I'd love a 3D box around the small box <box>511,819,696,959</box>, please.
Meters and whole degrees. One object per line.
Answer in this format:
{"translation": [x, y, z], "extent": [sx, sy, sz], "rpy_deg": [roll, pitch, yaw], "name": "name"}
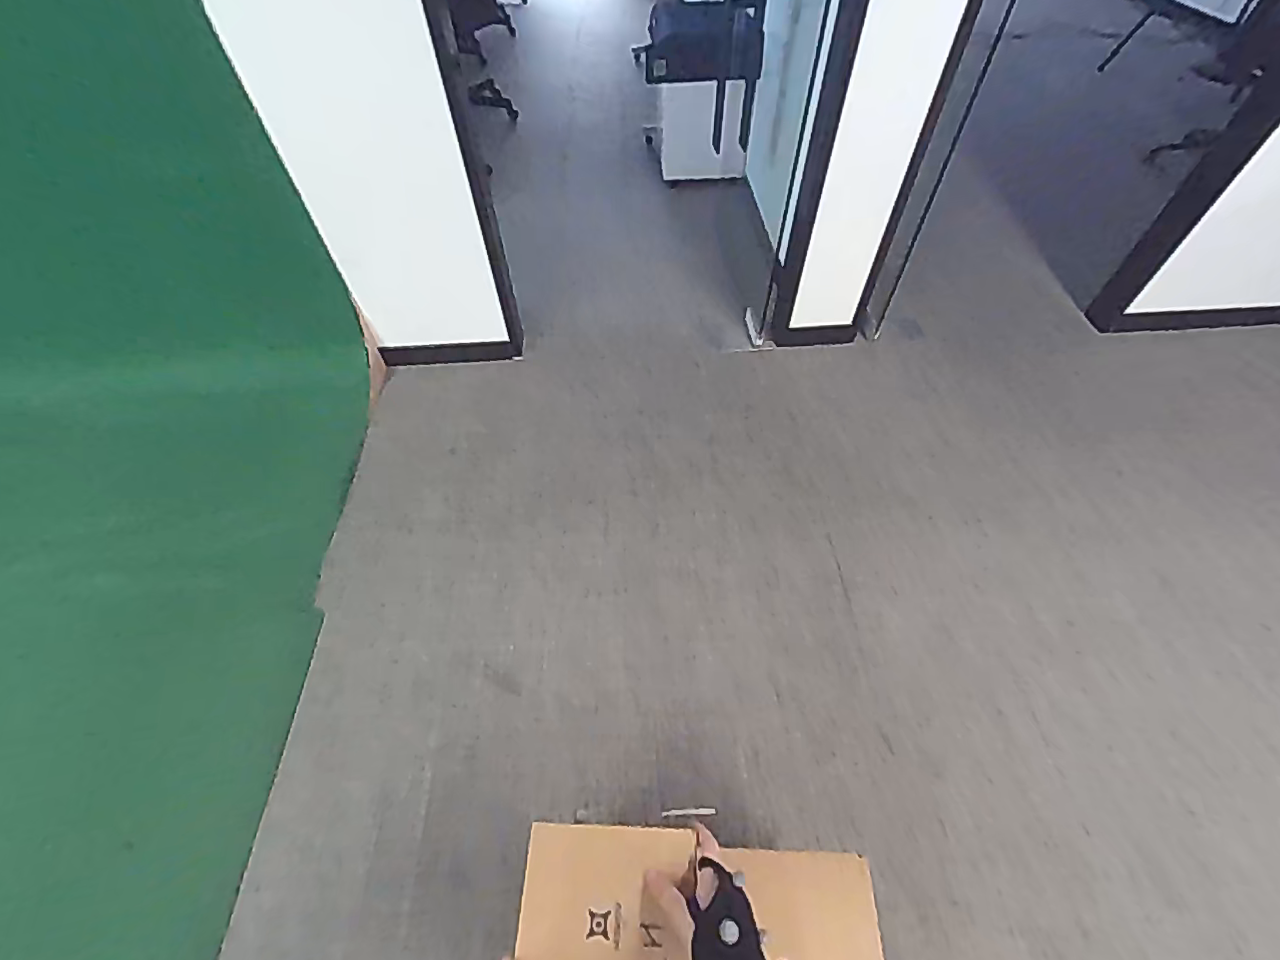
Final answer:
{"translation": [-0.029, 0.475, 0.585], "extent": [0.179, 0.176, 0.168], "rpy_deg": [0, 55, 4], "name": "small box"}
